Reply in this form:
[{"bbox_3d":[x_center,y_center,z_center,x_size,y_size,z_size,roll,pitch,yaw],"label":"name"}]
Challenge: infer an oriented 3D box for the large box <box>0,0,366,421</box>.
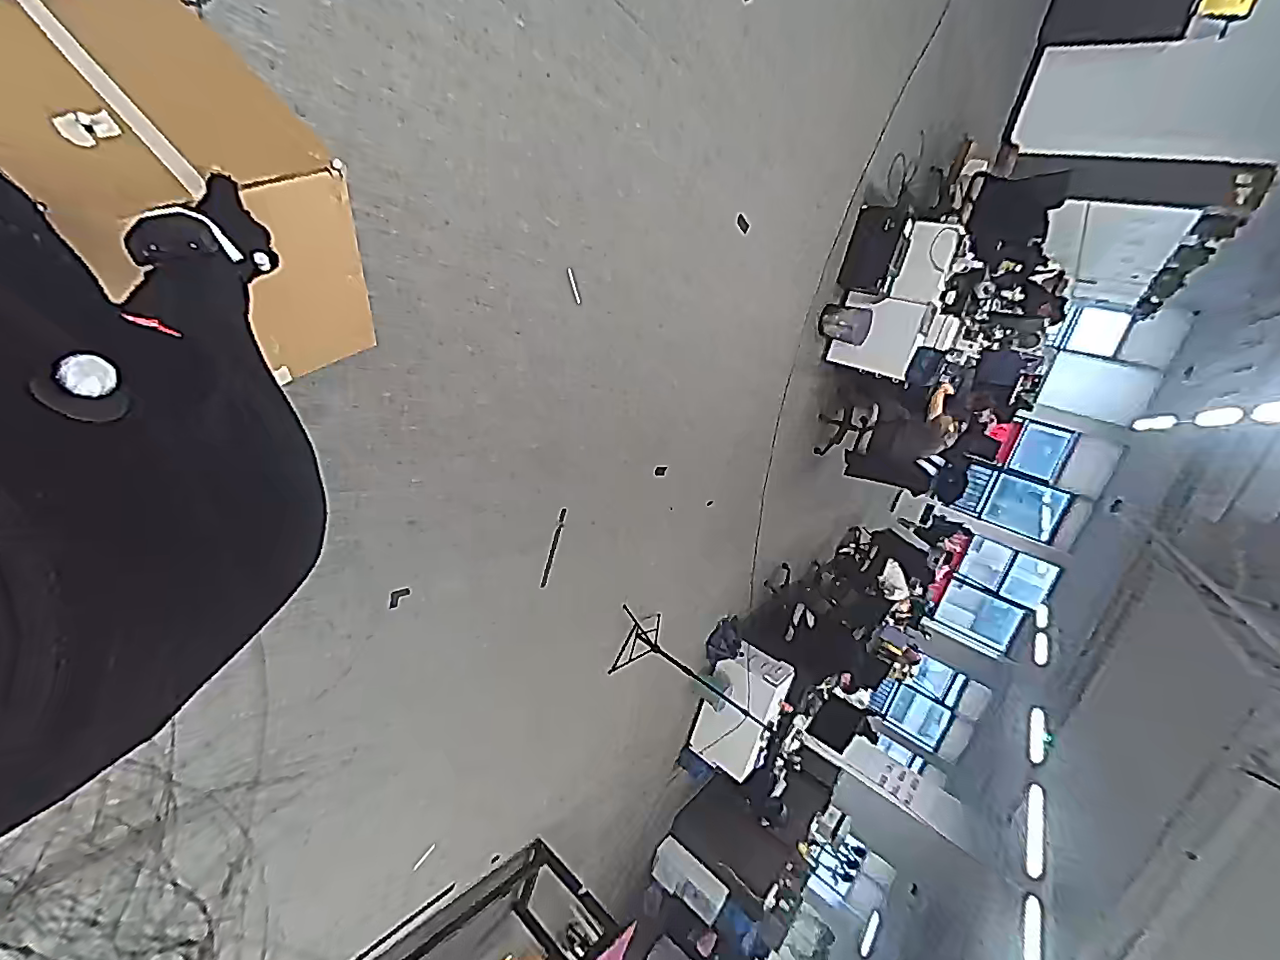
[{"bbox_3d":[-0.650,-0.364,0.739,0.320,0.408,0.320,-39,169,-31],"label":"large box"}]
